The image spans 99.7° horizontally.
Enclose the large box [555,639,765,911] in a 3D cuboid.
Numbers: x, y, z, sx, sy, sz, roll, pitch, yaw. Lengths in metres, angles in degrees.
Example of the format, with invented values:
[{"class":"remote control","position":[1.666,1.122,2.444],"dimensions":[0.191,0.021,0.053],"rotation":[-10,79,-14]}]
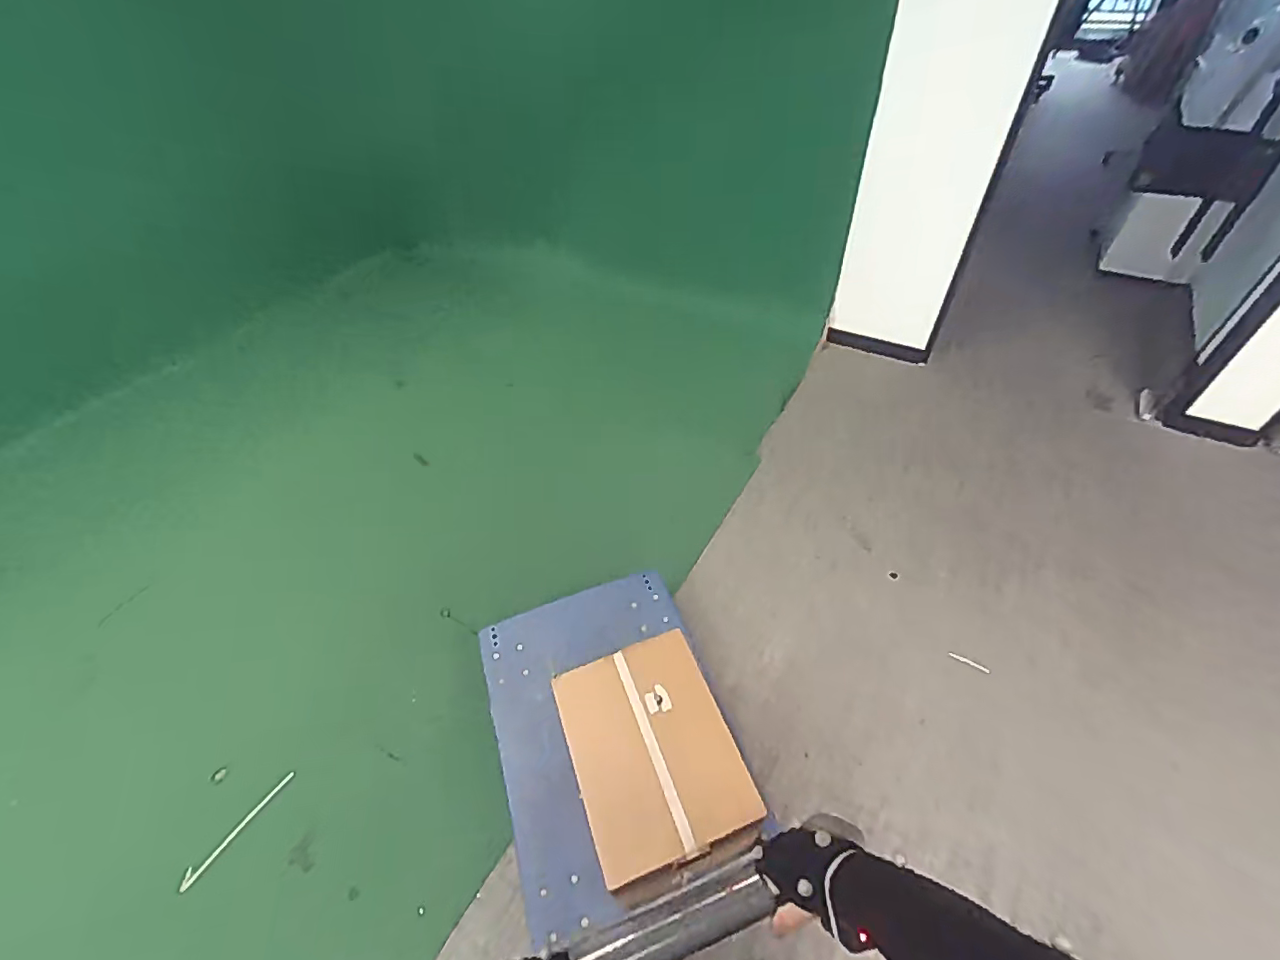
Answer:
[{"class":"large box","position":[0.036,0.647,1.206],"dimensions":[0.320,0.320,0.408],"rotation":[-18,47,-11]}]
